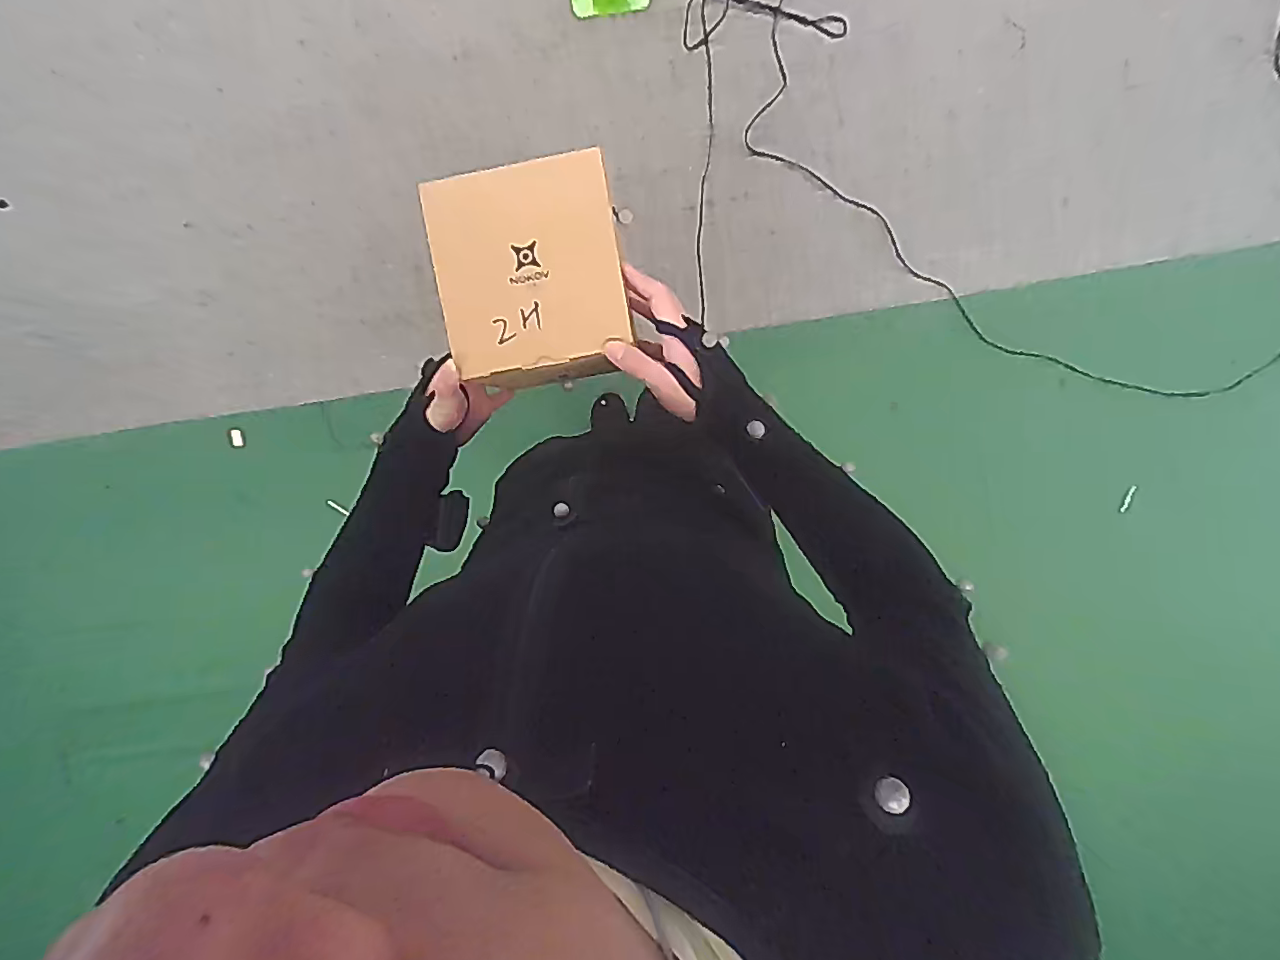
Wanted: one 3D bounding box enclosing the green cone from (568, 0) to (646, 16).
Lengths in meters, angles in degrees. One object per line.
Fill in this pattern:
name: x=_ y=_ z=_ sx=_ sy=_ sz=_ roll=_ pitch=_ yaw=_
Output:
green cone: x=-0.087 y=-1.251 z=1.186 sx=0.202 sy=0.368 sz=0.200 roll=-8 pitch=101 yaw=0
